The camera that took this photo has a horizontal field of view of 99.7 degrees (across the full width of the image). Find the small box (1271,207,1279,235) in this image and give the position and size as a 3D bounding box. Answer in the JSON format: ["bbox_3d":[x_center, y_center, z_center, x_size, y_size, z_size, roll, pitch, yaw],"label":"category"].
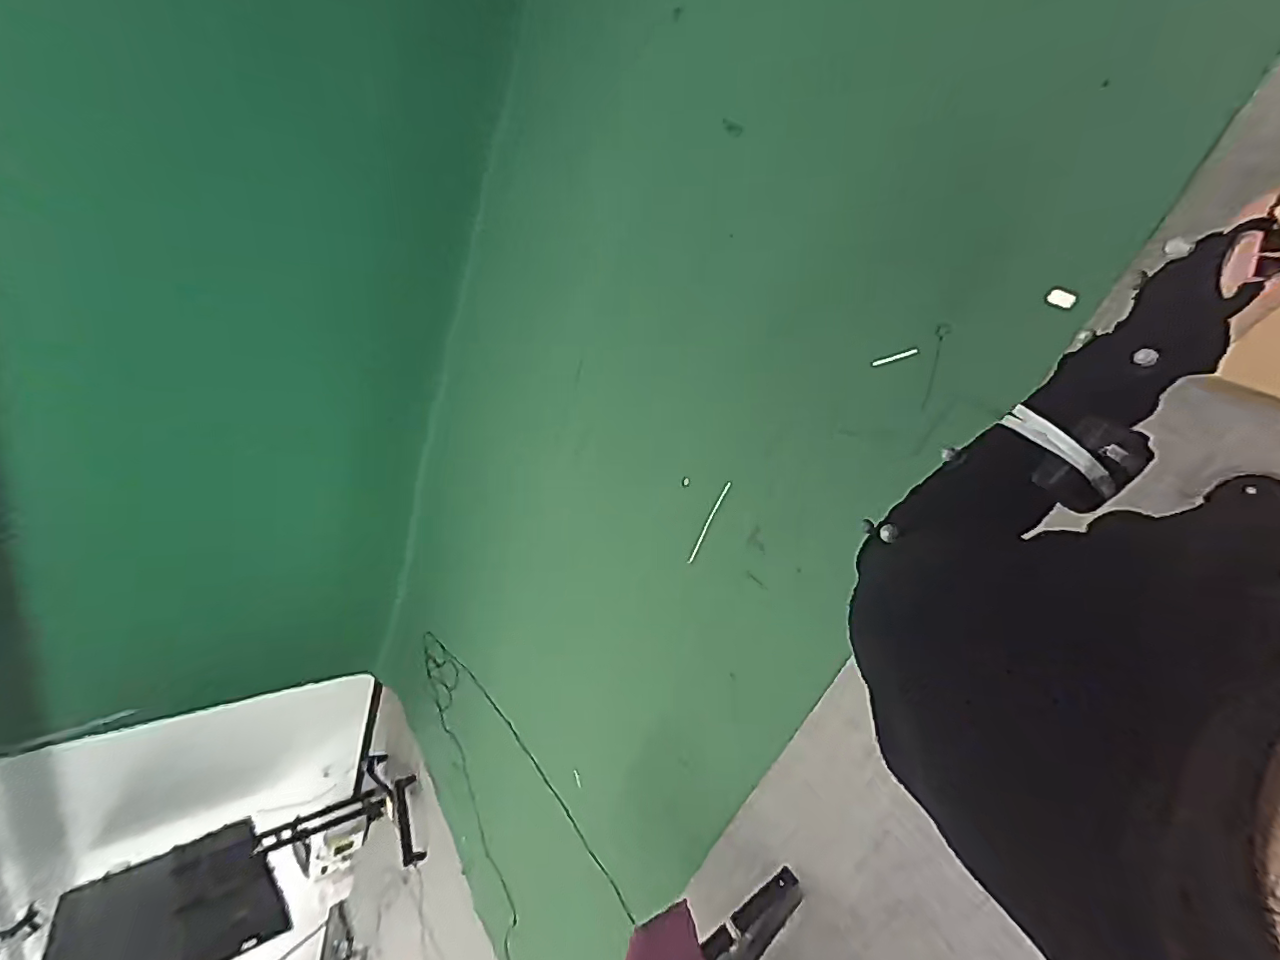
[{"bbox_3d":[0.562,-0.176,0.332,0.168,0.176,0.179,57,148,5],"label":"small box"}]

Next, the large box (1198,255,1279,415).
[{"bbox_3d":[1.154,-0.271,0.794,0.320,0.320,0.408,42,119,39],"label":"large box"}]
